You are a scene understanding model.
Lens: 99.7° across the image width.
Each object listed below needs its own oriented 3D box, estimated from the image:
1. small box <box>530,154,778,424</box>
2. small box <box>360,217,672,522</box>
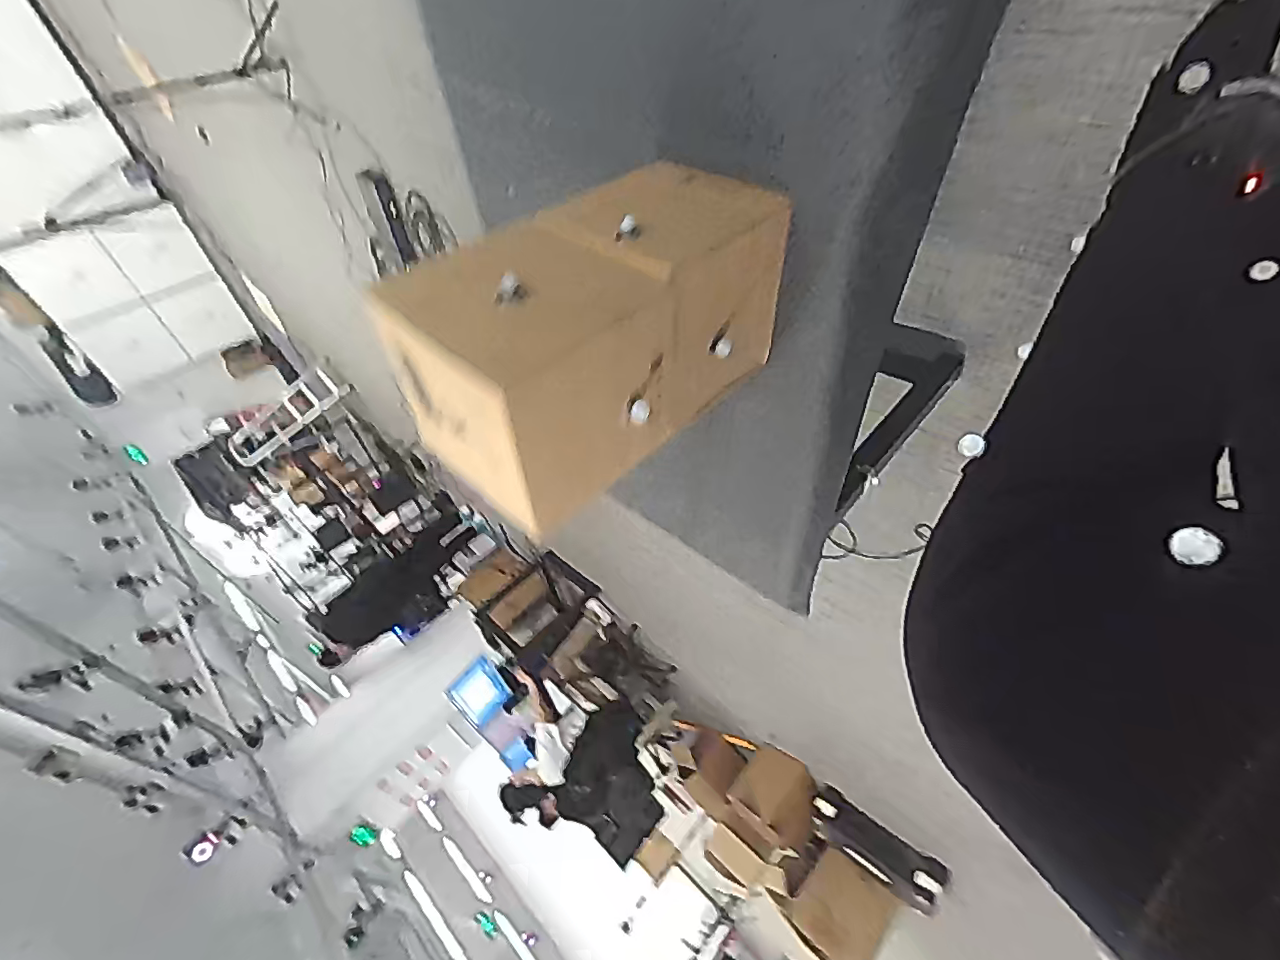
[{"bbox_3d":[0.019,-0.195,0.545,0.168,0.176,0.179,34,148,28],"label":"small box"},{"bbox_3d":[-0.096,-0.104,0.470,0.179,0.176,0.168,36,148,25],"label":"small box"}]
